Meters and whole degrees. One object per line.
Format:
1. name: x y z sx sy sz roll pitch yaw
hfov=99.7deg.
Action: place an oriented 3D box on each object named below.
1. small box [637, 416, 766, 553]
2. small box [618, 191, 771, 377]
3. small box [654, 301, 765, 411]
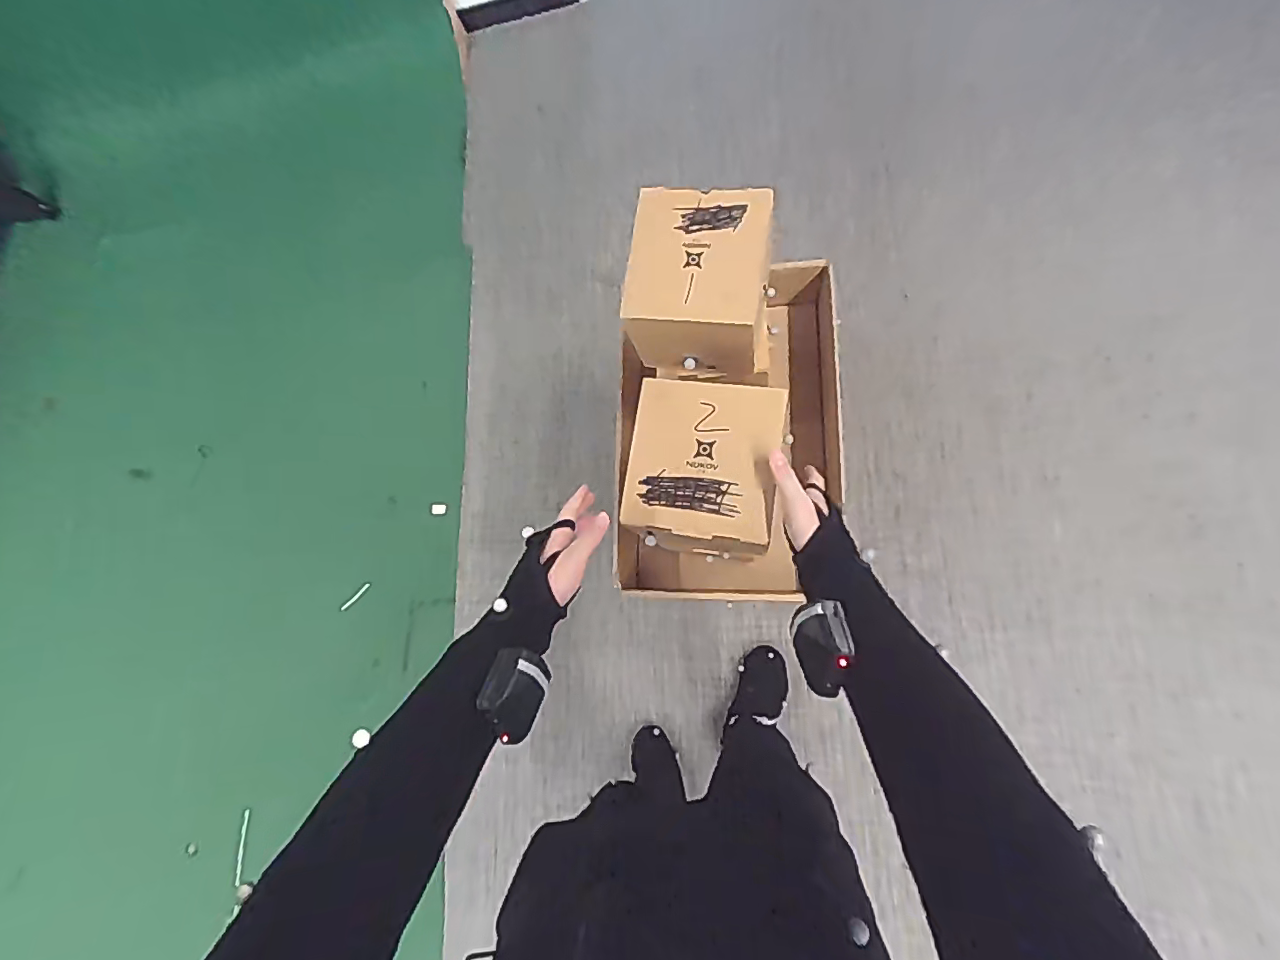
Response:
1. small box: 0.103 0.015 0.839 0.168 0.176 0.179 6 79 12
2. small box: 0.079 -0.257 0.732 0.168 0.176 0.179 8 83 13
3. small box: 0.116 -0.224 0.889 0.168 0.176 0.179 -2 80 11
